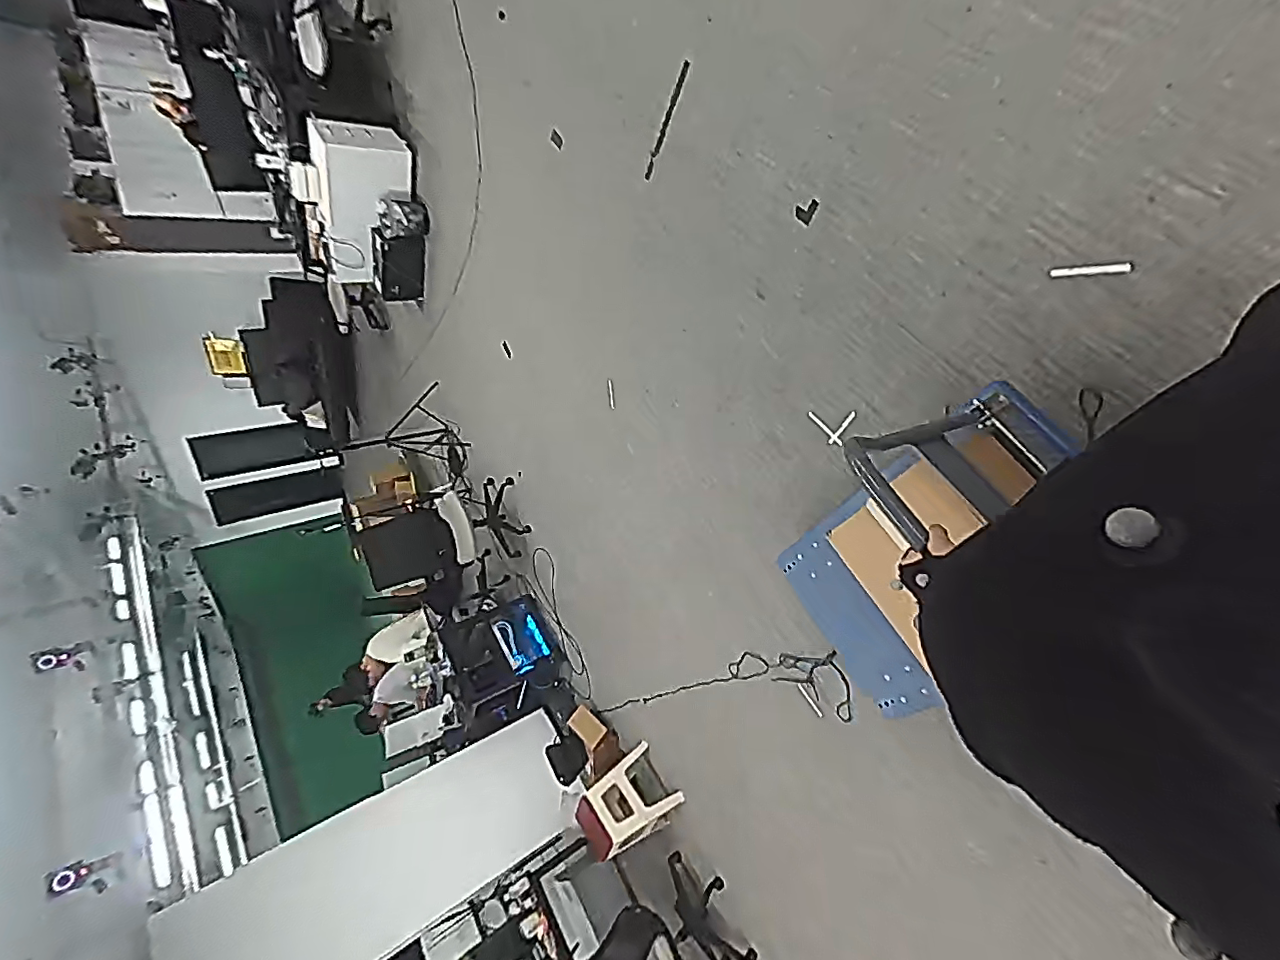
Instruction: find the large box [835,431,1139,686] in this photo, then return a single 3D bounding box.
[{"bbox_3d":[0.729,0.157,1.172,0.408,0.320,0.320,58,141,22],"label":"large box"}]
